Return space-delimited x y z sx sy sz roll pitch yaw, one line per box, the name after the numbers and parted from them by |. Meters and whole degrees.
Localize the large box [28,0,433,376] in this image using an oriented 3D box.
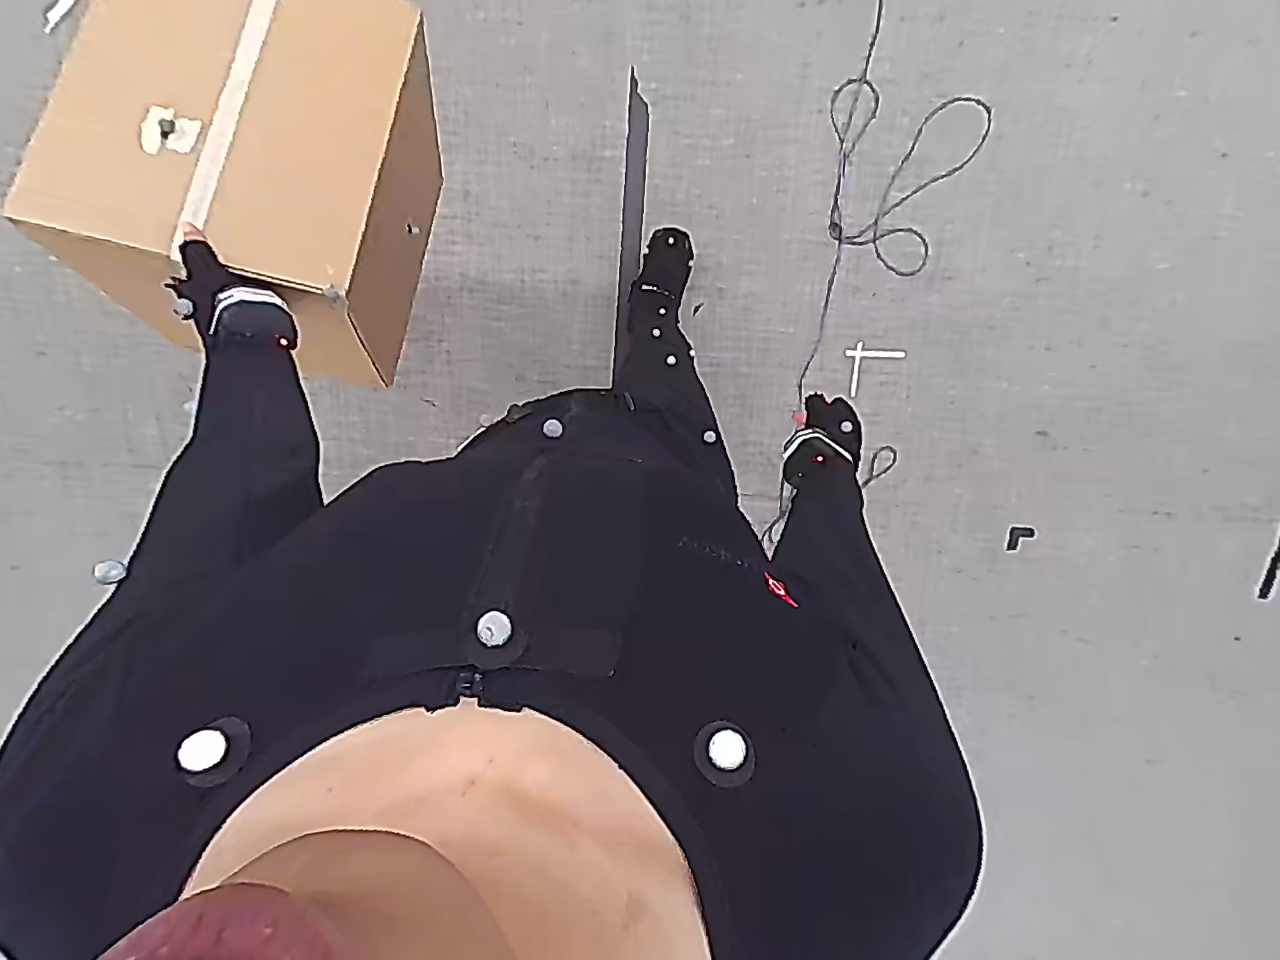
-0.493 -0.408 0.758 0.320 0.320 0.408 10 79 -13 | large box
